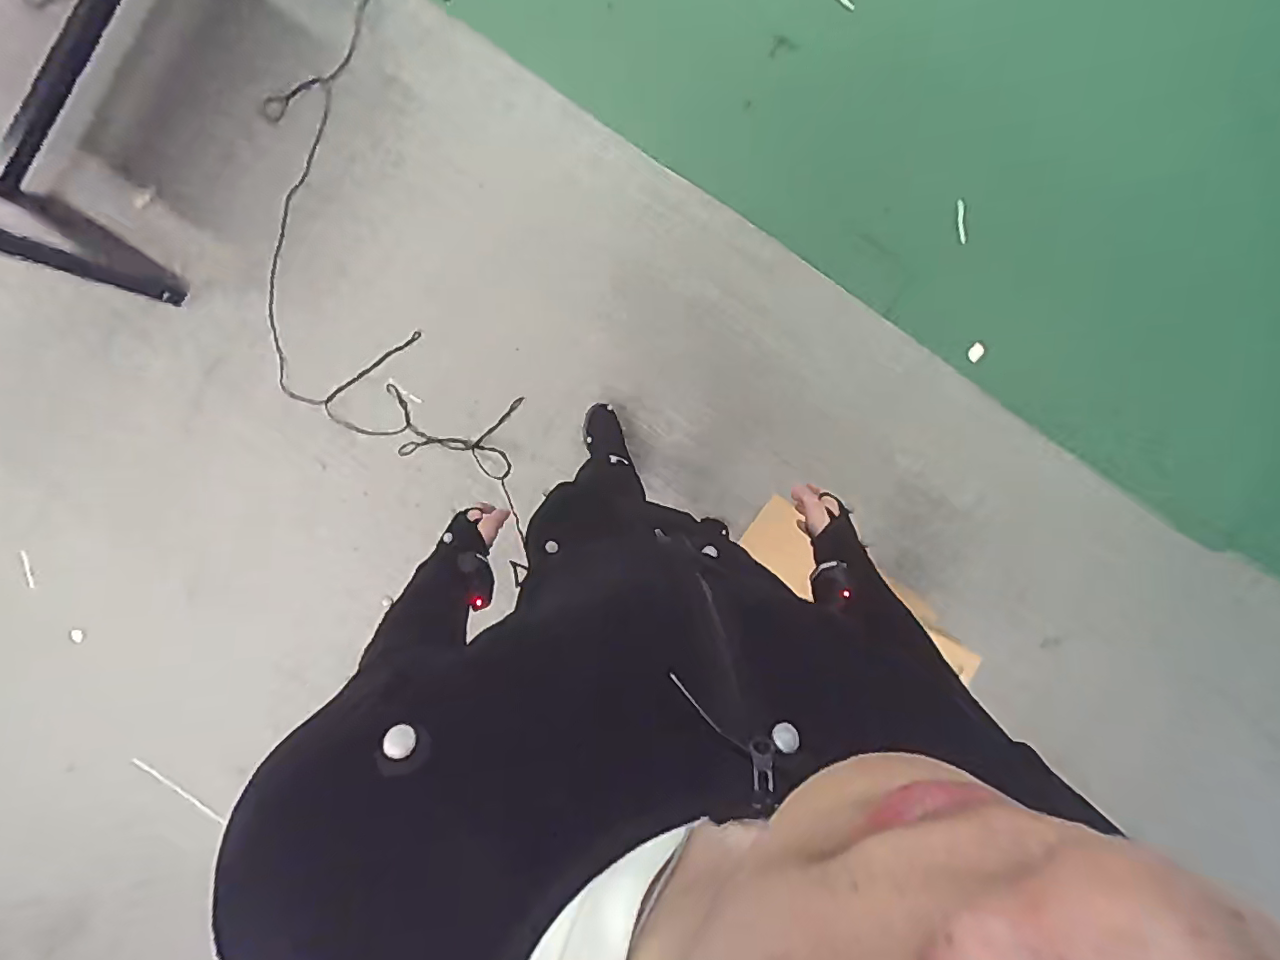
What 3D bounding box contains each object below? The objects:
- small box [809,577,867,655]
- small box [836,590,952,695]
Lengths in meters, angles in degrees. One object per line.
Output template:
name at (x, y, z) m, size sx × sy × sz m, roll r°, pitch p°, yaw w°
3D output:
small box at (0.606, 0.392, 1.515) m, size 0.179 × 0.176 × 0.168 m, roll 29°, pitch 94°, yaw 1°
small box at (0.620, 0.394, 1.349) m, size 0.179 × 0.176 × 0.168 m, roll 29°, pitch 95°, yaw 1°
